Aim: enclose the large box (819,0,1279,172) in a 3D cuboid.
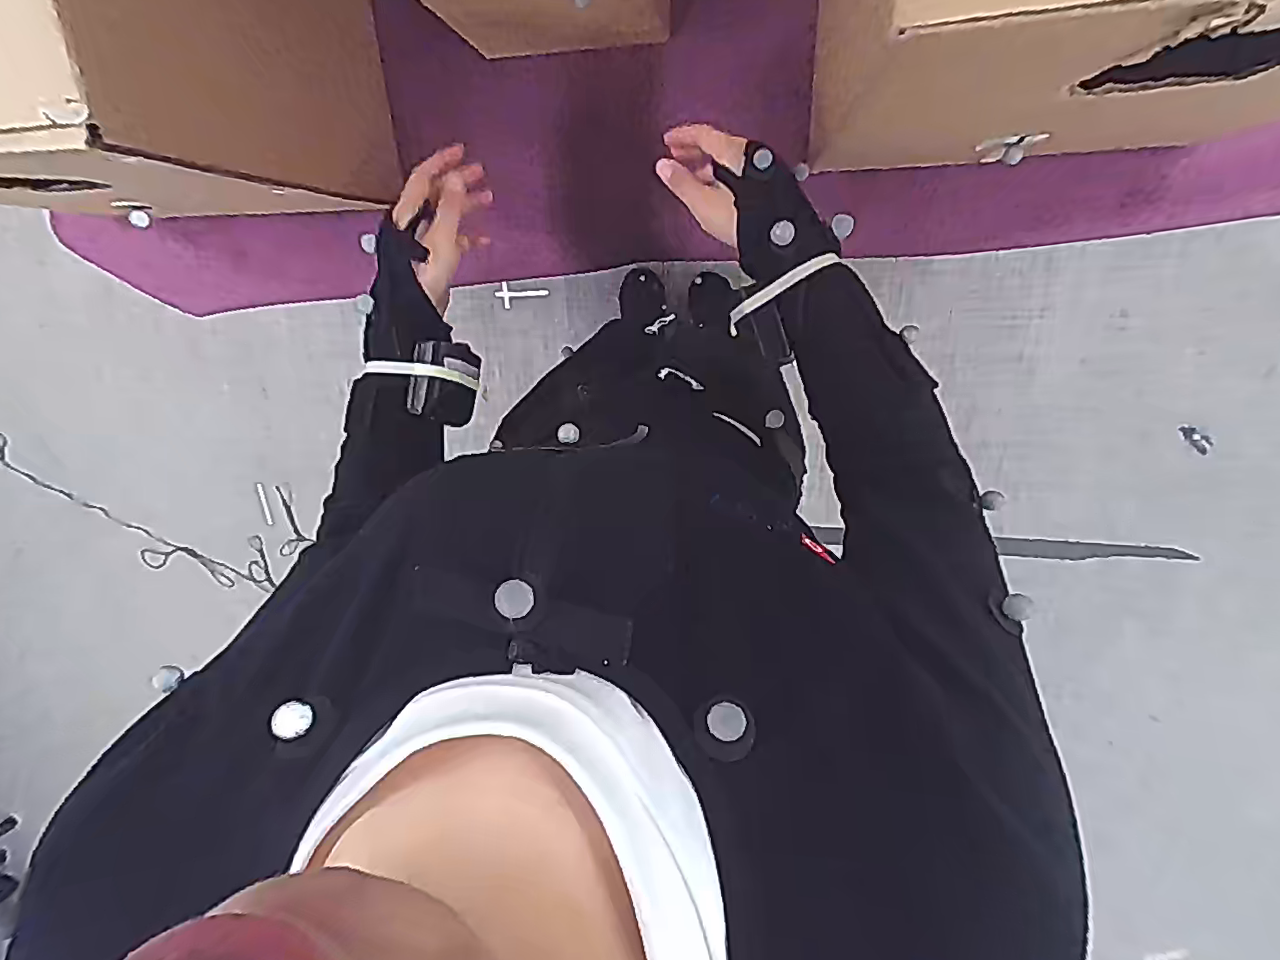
[{"bbox_3d":[0.270,-0.414,0.260,0.320,0.320,0.408,1,109,10],"label":"large box"}]
